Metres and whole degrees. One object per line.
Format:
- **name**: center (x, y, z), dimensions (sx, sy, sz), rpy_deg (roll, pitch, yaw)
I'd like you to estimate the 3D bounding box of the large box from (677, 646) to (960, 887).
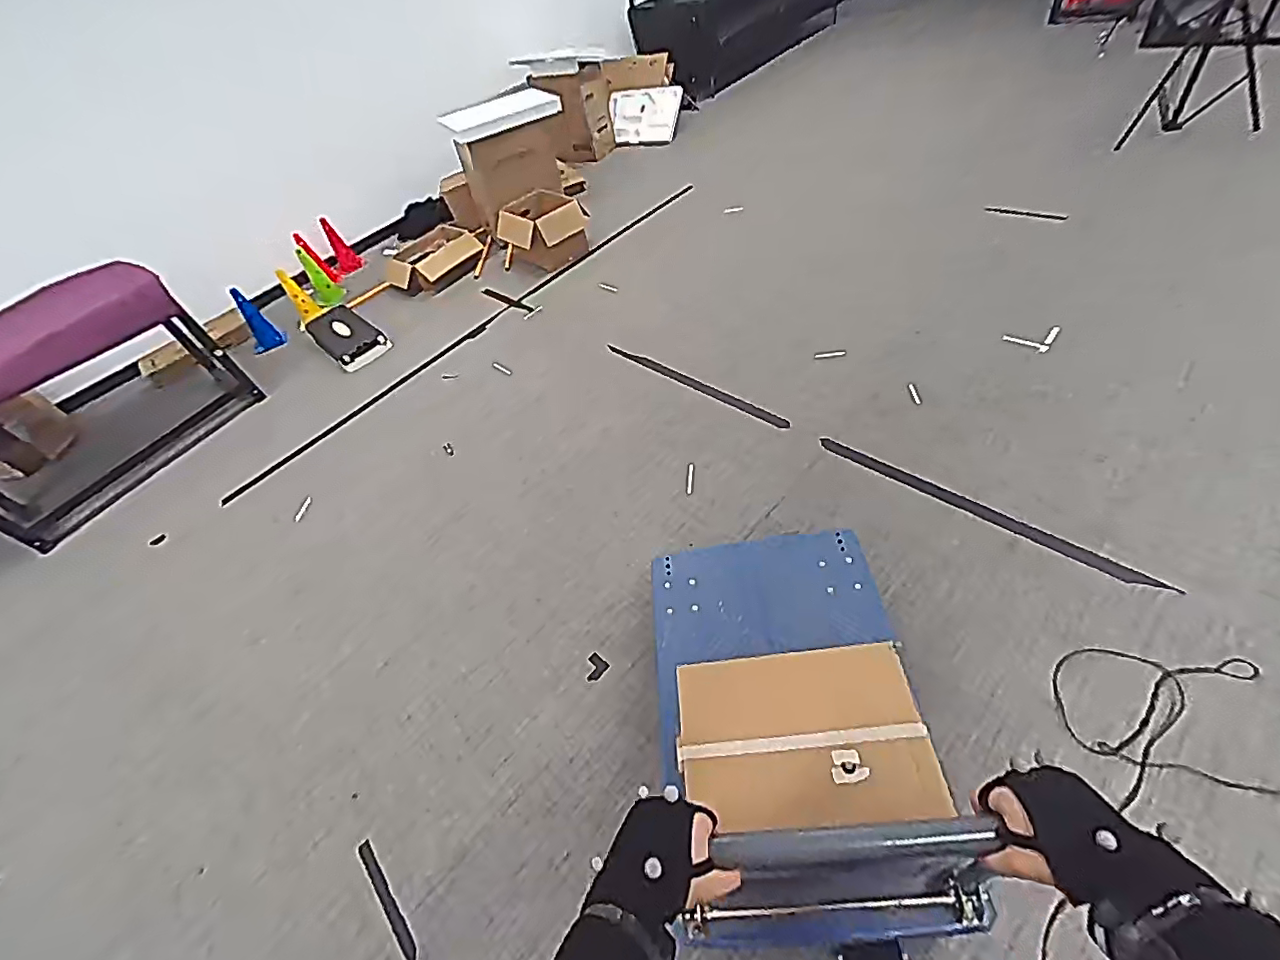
- **large box**: center (0.297, 0.547, 1.019), dimensions (0.408, 0.320, 0.320), rpy_deg (-9, 48, 7)
